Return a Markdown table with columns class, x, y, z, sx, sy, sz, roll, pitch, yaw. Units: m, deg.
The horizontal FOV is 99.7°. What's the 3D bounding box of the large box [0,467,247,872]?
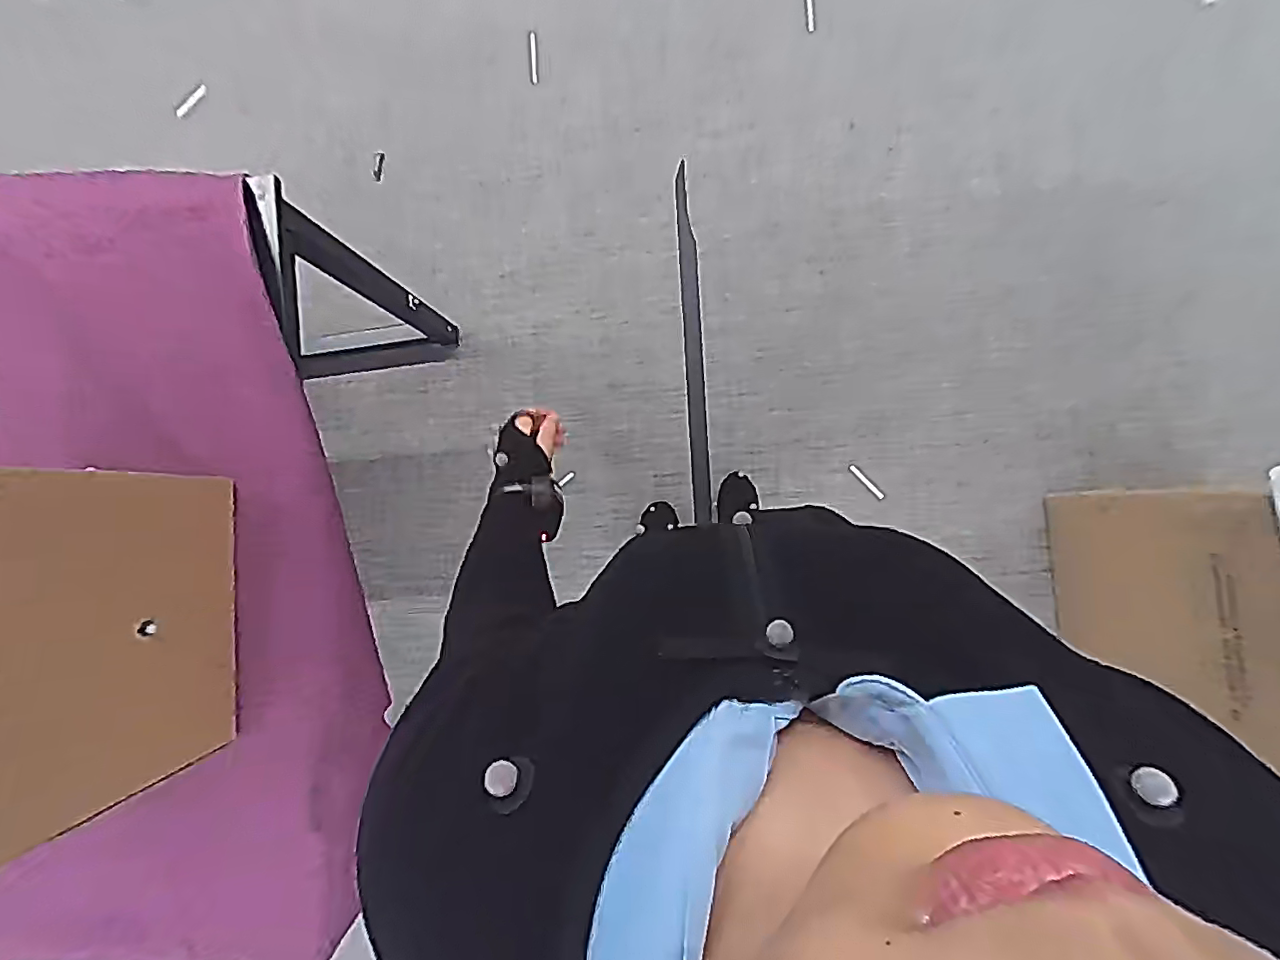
| class | x | y | z | sx | sy | sz | roll | pitch | yaw |
| --- | --- | --- | --- | --- | --- | --- | --- | --- | --- |
| large box | -0.771 | 0.198 | 0.691 | 0.320 | 0.320 | 0.408 | -4 | 89 | 7 |
